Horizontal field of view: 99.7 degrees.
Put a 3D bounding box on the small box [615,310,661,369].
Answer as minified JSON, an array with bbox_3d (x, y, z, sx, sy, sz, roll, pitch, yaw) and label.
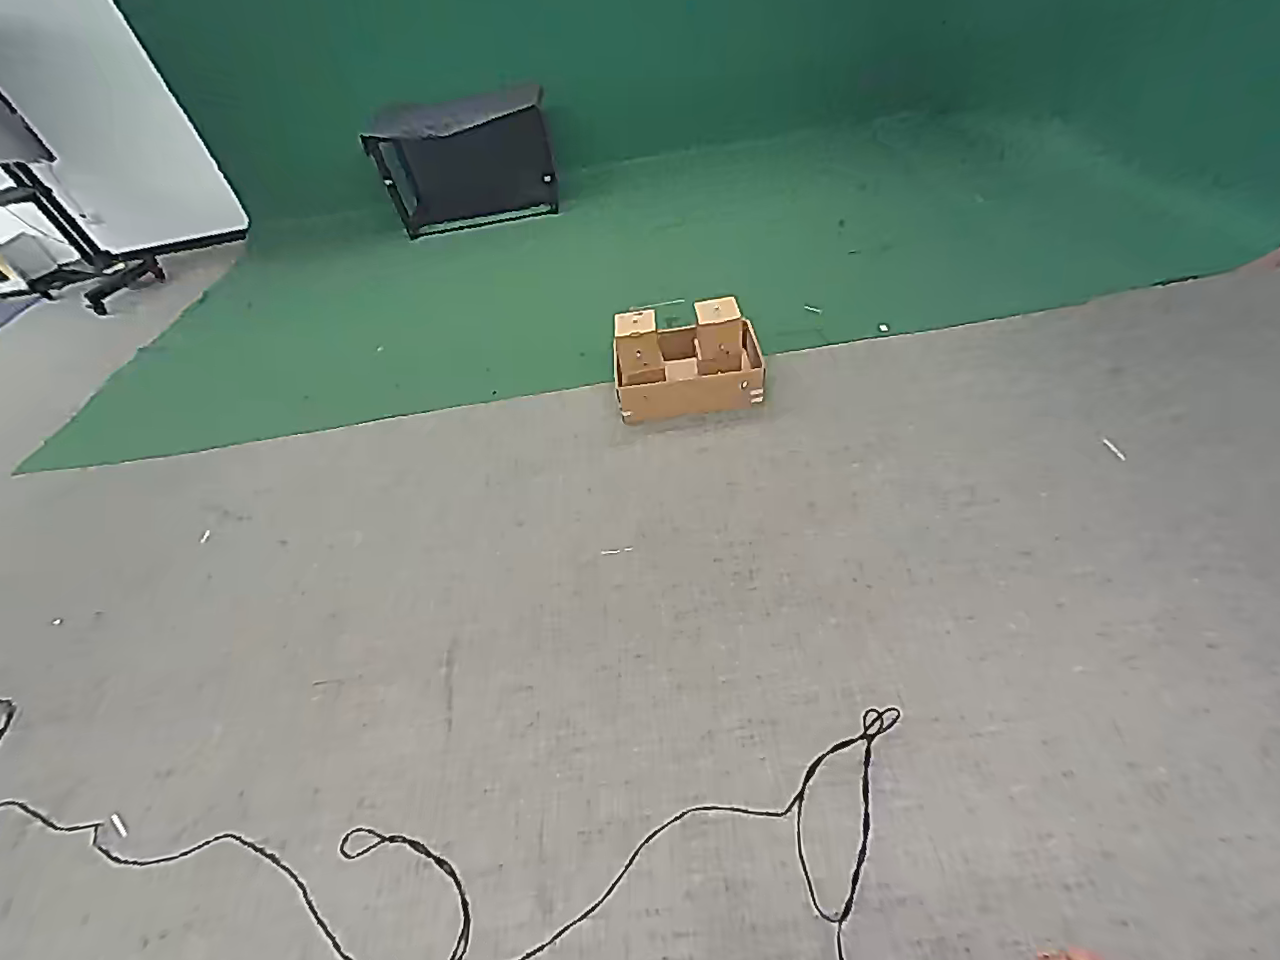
[{"bbox_3d":[-0.005,-0.570,2.219,0.168,0.176,0.179,-7,47,5],"label":"small box"}]

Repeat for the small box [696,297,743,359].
[{"bbox_3d":[0.322,-0.616,2.197,0.168,0.176,0.179,-9,47,4],"label":"small box"}]
